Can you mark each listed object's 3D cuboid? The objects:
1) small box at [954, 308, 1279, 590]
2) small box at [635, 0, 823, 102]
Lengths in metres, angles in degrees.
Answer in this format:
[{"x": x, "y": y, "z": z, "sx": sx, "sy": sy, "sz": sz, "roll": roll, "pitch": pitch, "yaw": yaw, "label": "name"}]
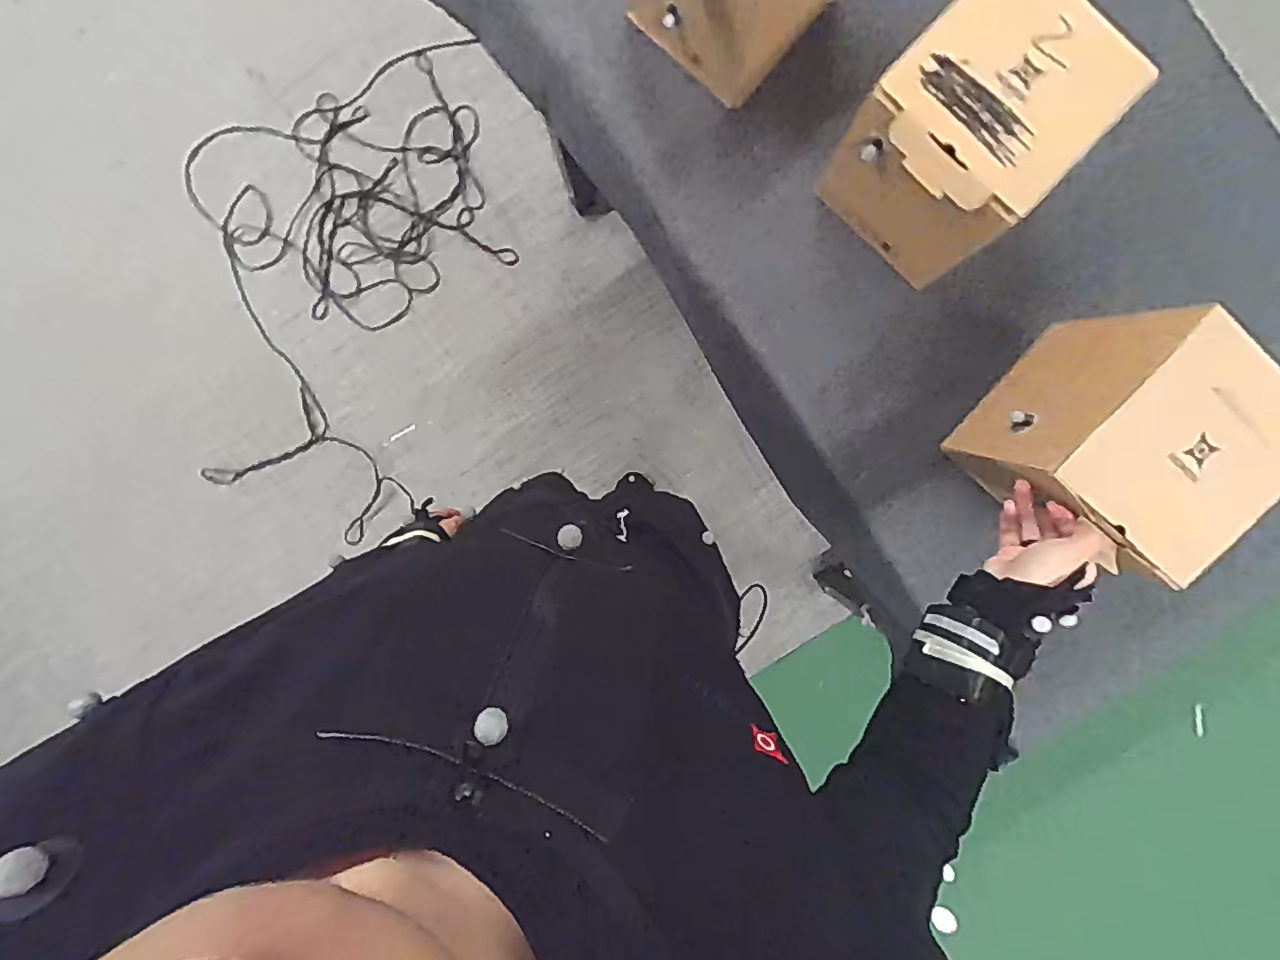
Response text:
[{"x": 0.442, "y": -0.035, "z": 0.515, "sx": 0.168, "sy": 0.176, "sz": 0.179, "roll": 37, "pitch": 98, "yaw": -9, "label": "small box"}, {"x": 0.101, "y": -0.536, "z": 0.528, "sx": 0.168, "sy": 0.176, "sz": 0.179, "roll": 41, "pitch": 92, "yaw": -1, "label": "small box"}]
